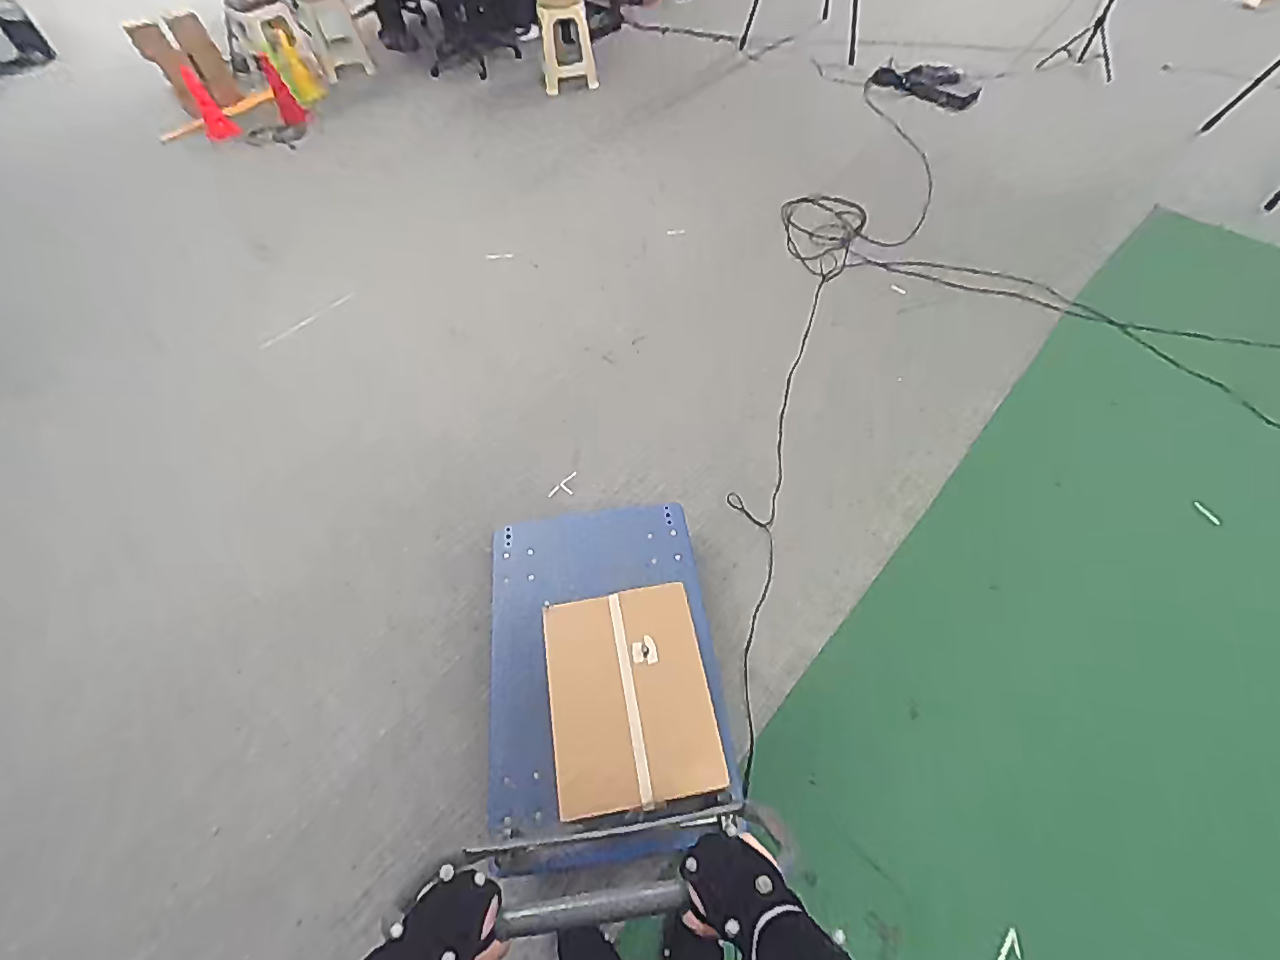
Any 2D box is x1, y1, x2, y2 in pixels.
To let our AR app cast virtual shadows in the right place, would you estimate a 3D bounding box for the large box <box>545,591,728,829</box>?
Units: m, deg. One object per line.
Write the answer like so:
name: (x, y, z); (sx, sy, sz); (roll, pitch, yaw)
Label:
large box: (-0.017, 0.517, 1.214); (0.320, 0.320, 0.408); (-9, 56, -5)
